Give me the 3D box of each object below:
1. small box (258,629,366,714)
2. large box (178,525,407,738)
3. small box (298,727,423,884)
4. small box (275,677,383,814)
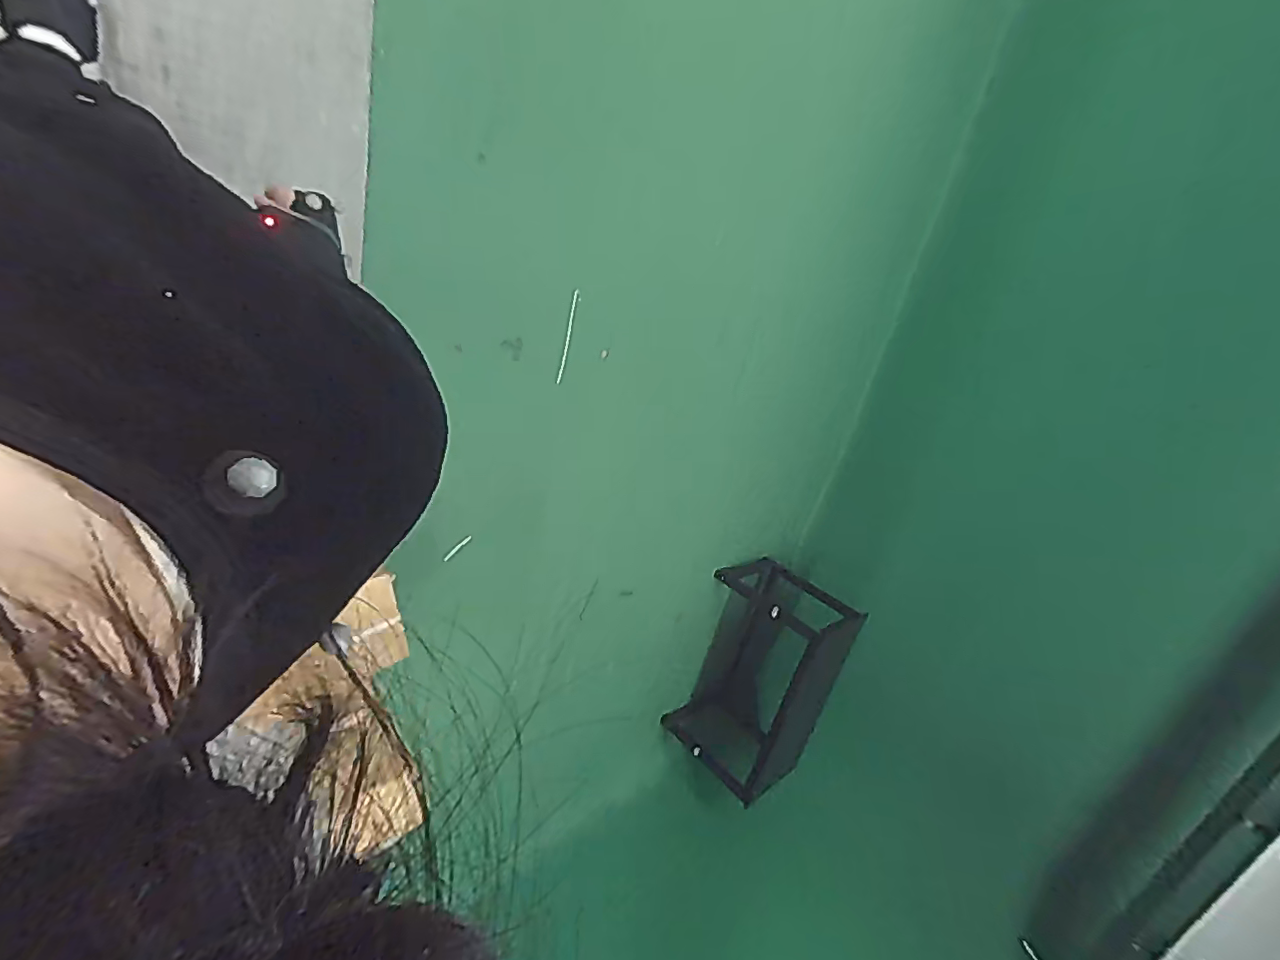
[{"bbox_3d":[-0.764,0.484,1.272,0.179,0.176,0.168,-19,125,-38],"label":"small box"},{"bbox_3d":[-0.907,0.377,1.441,0.408,0.320,0.320,-24,131,-37],"label":"large box"},{"bbox_3d":[-0.550,0.623,1.065,0.168,0.176,0.179,-18,124,-38],"label":"small box"},{"bbox_3d":[-0.663,0.556,1.164,0.168,0.176,0.179,-17,125,-40],"label":"small box"}]
